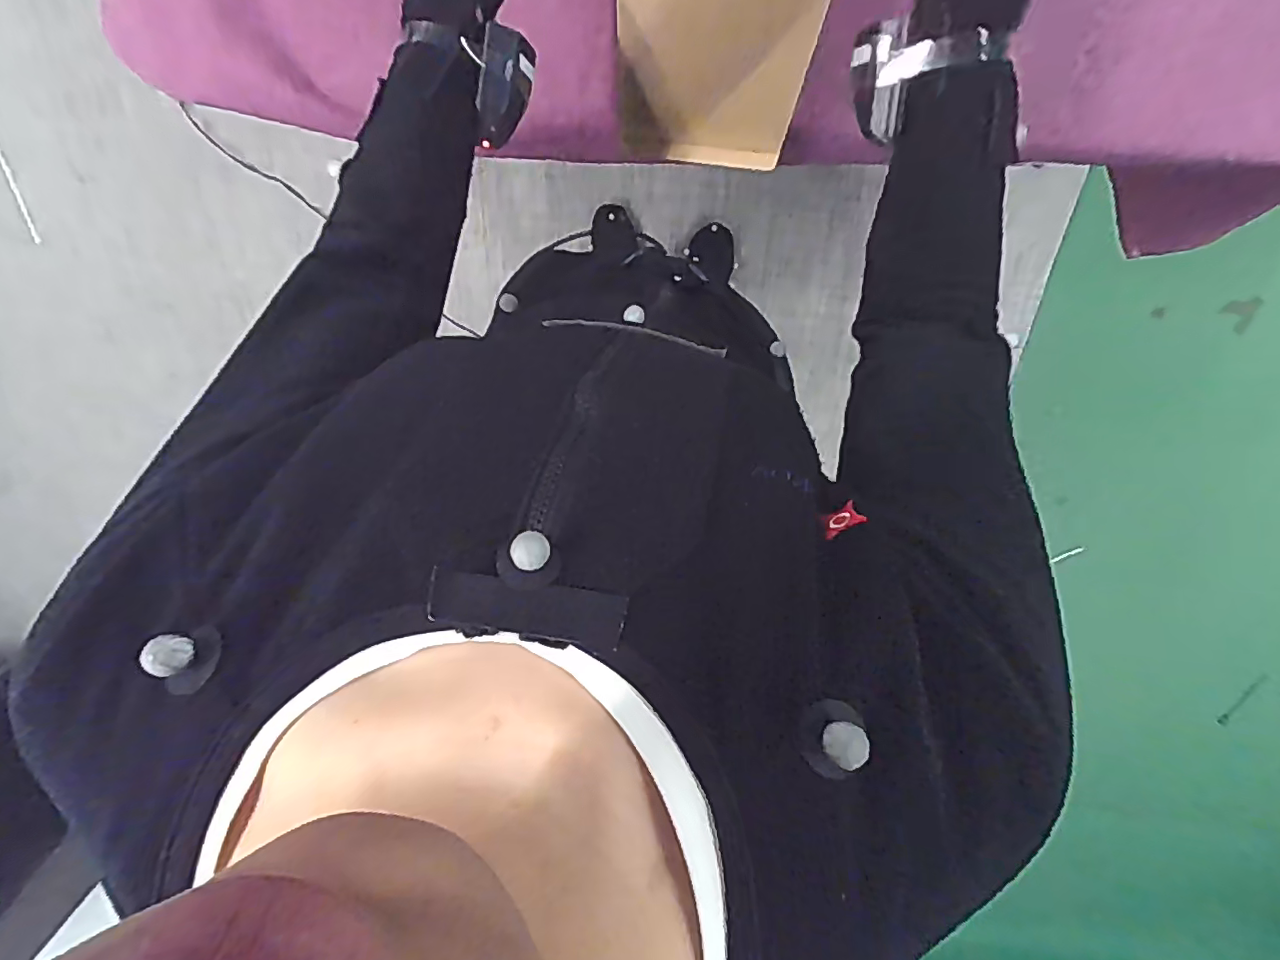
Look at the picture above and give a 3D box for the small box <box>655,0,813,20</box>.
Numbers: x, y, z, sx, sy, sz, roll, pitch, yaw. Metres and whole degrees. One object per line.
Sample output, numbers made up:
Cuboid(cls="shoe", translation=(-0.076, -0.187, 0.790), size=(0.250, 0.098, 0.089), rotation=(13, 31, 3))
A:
Cuboid(cls="small box", translation=(0.078, -0.481, 0.407), size=(0.168, 0.176, 0.179), rotation=(7, 118, 1))
